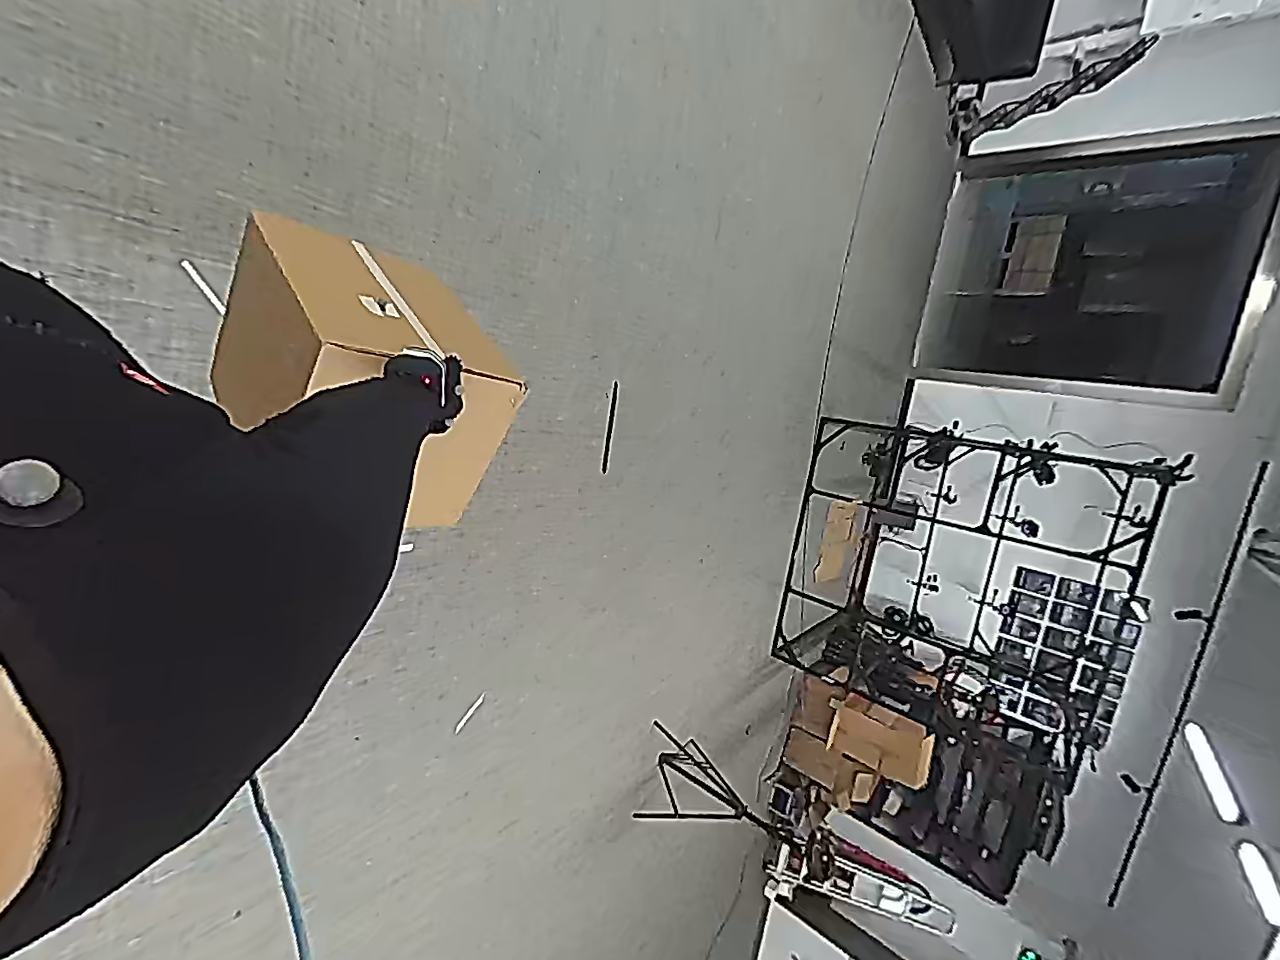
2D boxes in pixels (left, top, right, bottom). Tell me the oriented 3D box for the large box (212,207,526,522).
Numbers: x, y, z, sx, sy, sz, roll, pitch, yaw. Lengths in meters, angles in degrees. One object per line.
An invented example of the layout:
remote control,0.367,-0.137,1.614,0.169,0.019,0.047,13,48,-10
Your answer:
large box,-0.475,-0.177,0.925,0.320,0.408,0.320,3,130,-51
